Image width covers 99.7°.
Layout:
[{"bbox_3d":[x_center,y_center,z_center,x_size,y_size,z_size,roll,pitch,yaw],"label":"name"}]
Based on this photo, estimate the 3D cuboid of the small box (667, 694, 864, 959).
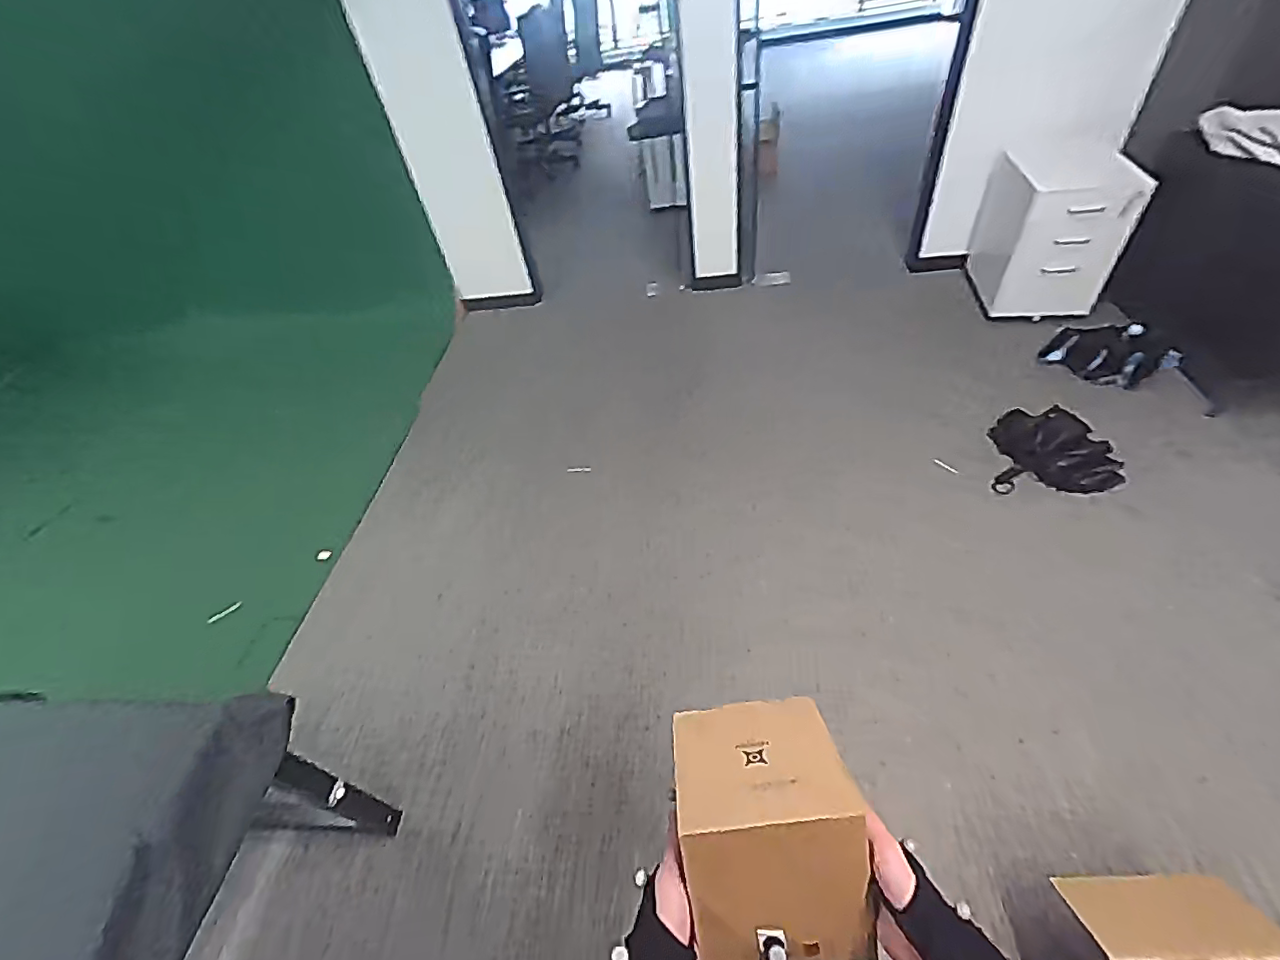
[{"bbox_3d":[0.120,0.357,0.568,0.168,0.176,0.179,-9,12,3],"label":"small box"}]
